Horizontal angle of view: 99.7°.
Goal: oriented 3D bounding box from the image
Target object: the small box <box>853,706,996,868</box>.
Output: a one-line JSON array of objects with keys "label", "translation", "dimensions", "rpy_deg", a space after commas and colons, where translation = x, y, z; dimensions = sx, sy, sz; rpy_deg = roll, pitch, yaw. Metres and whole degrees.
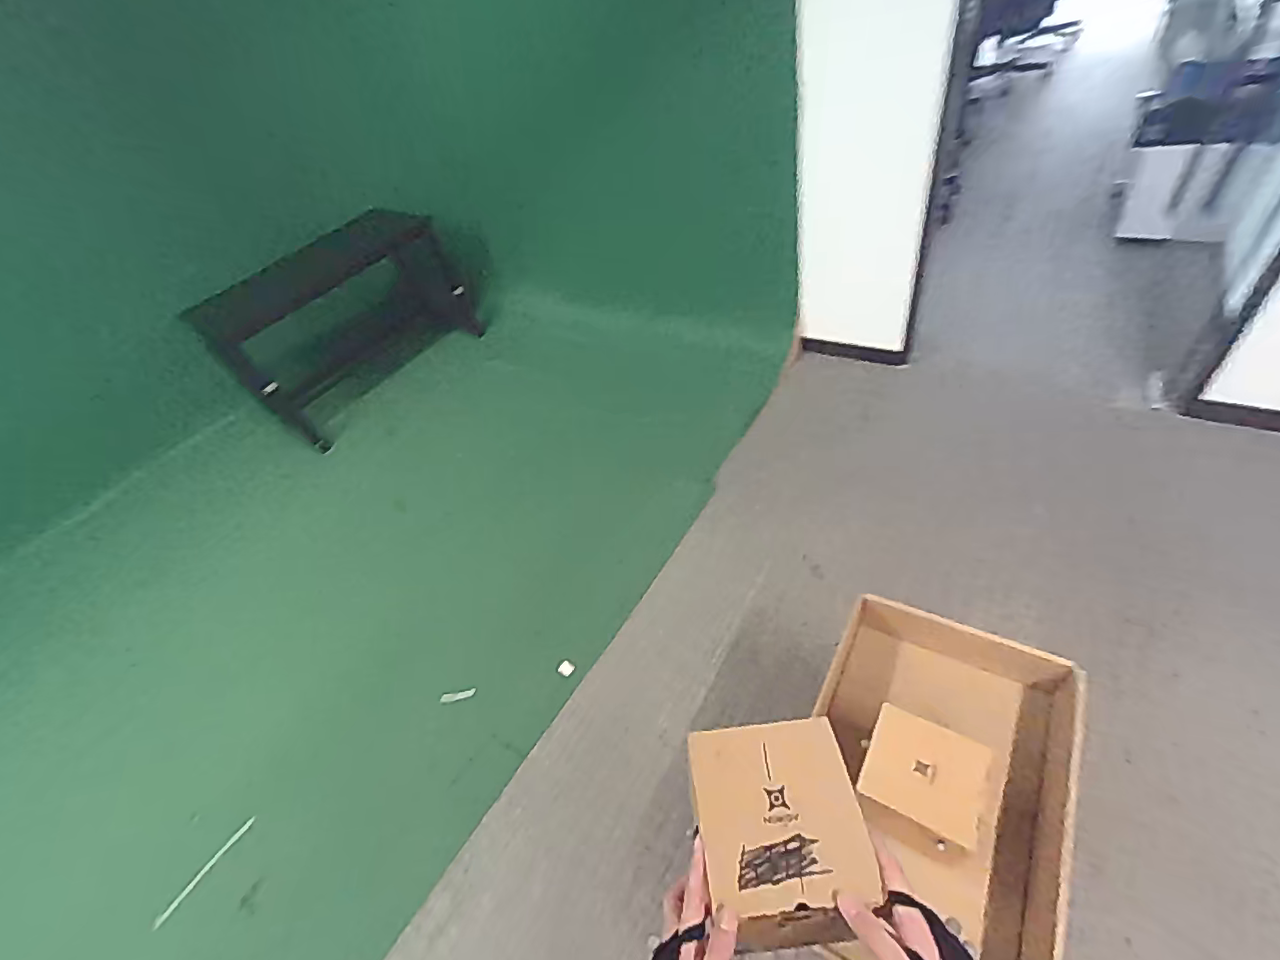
[{"label": "small box", "translation": [0.485, 0.535, 0.940], "dimensions": [0.179, 0.176, 0.168], "rpy_deg": [18, 54, 29]}]

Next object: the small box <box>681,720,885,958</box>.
[{"label": "small box", "translation": [0.142, 0.399, 0.599], "dimensions": [0.168, 0.176, 0.179], "rpy_deg": [-7, 40, -1]}]
